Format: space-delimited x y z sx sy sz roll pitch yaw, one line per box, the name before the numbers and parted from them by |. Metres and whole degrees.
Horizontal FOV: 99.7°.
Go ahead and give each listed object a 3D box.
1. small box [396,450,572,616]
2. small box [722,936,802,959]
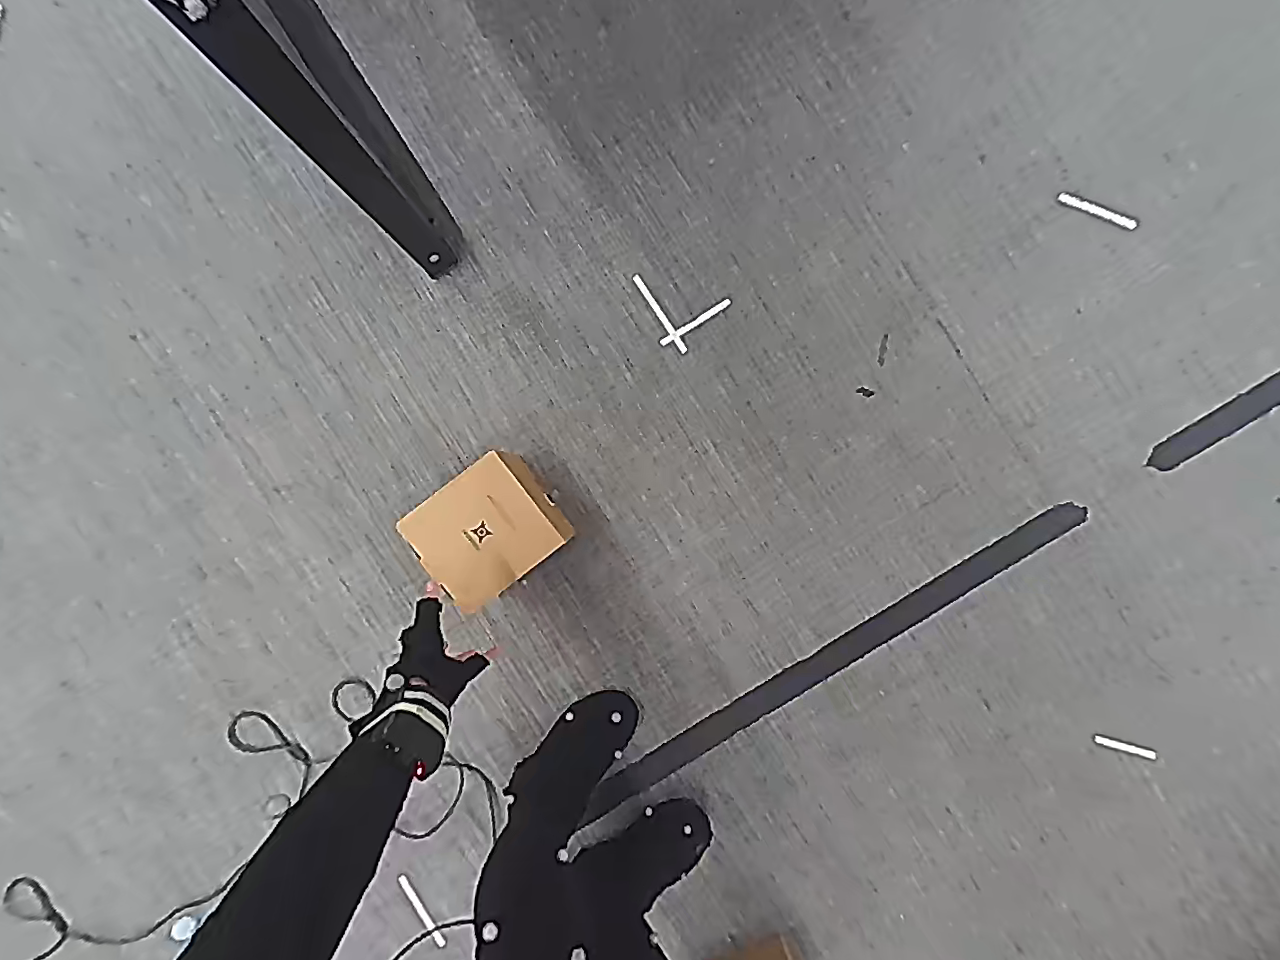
small box | -0.221 0.074 0.824 0.179 0.176 0.168 -39 91 -1
small box | 0.200 0.864 0.826 0.179 0.176 0.168 -23 90 0
